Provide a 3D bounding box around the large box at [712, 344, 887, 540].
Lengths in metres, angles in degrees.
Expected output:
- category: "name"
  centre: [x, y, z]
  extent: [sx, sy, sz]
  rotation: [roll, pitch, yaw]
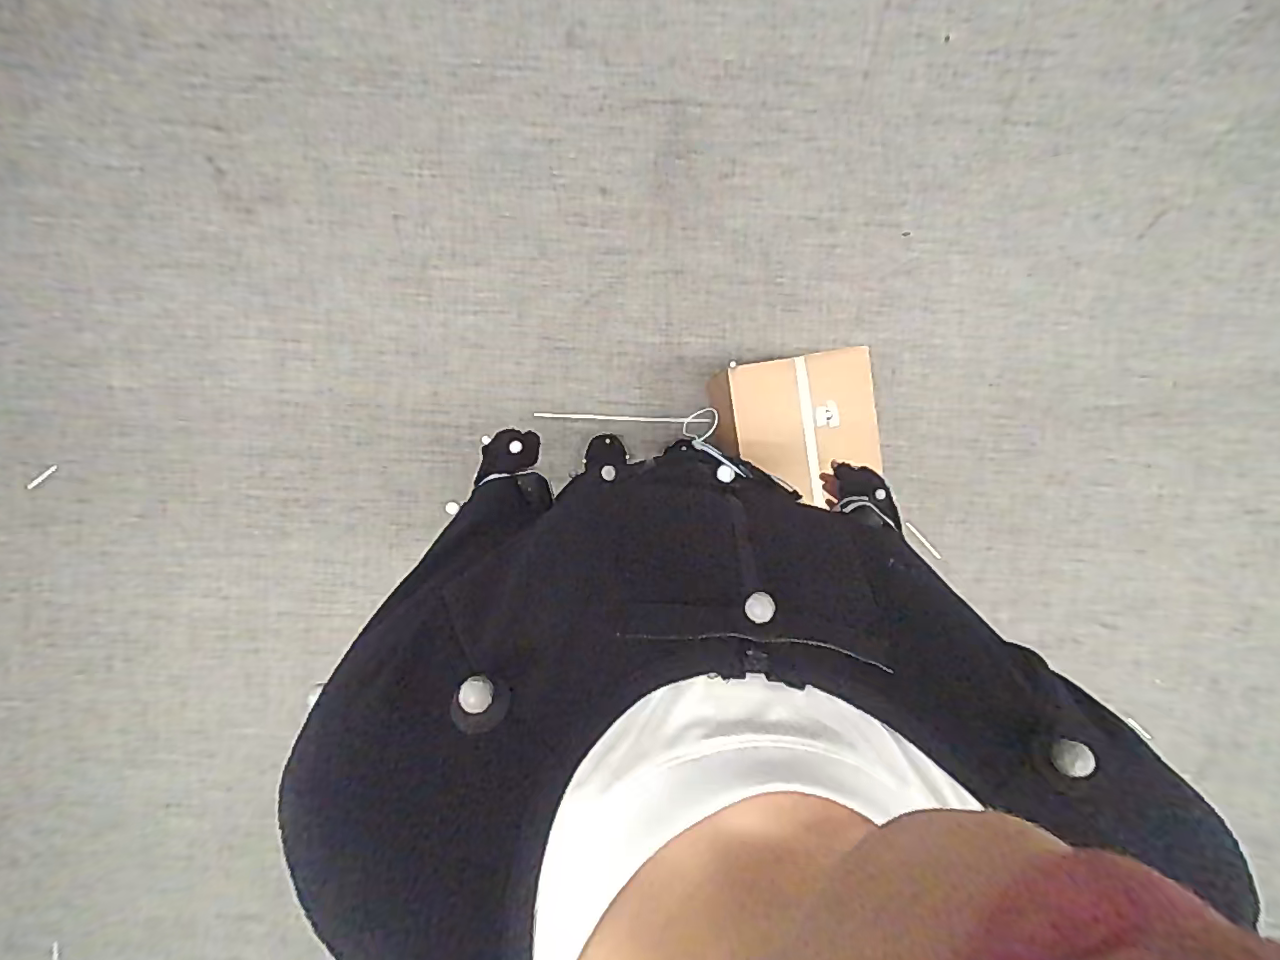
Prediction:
- category: "large box"
  centre: [0.377, -0.094, 1.357]
  extent: [0.320, 0.320, 0.408]
  rotation: [-9, 95, 0]
